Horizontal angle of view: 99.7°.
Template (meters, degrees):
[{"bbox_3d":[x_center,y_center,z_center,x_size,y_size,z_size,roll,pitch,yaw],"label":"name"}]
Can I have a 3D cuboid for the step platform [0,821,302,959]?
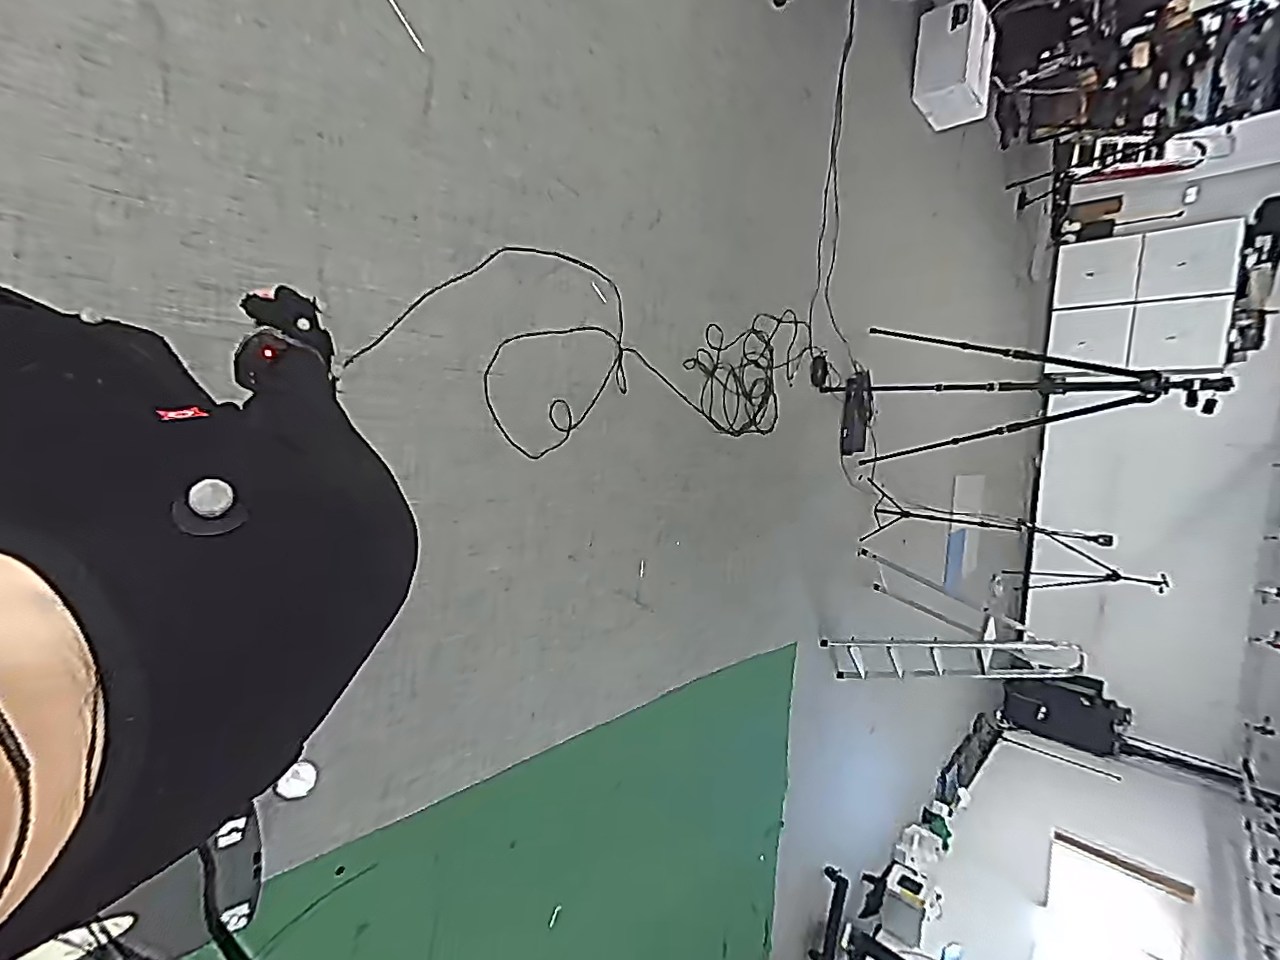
[{"bbox_3d":[-0.968,0.869,0.881,0.684,0.204,0.286,-3,97,-47],"label":"step platform"}]
